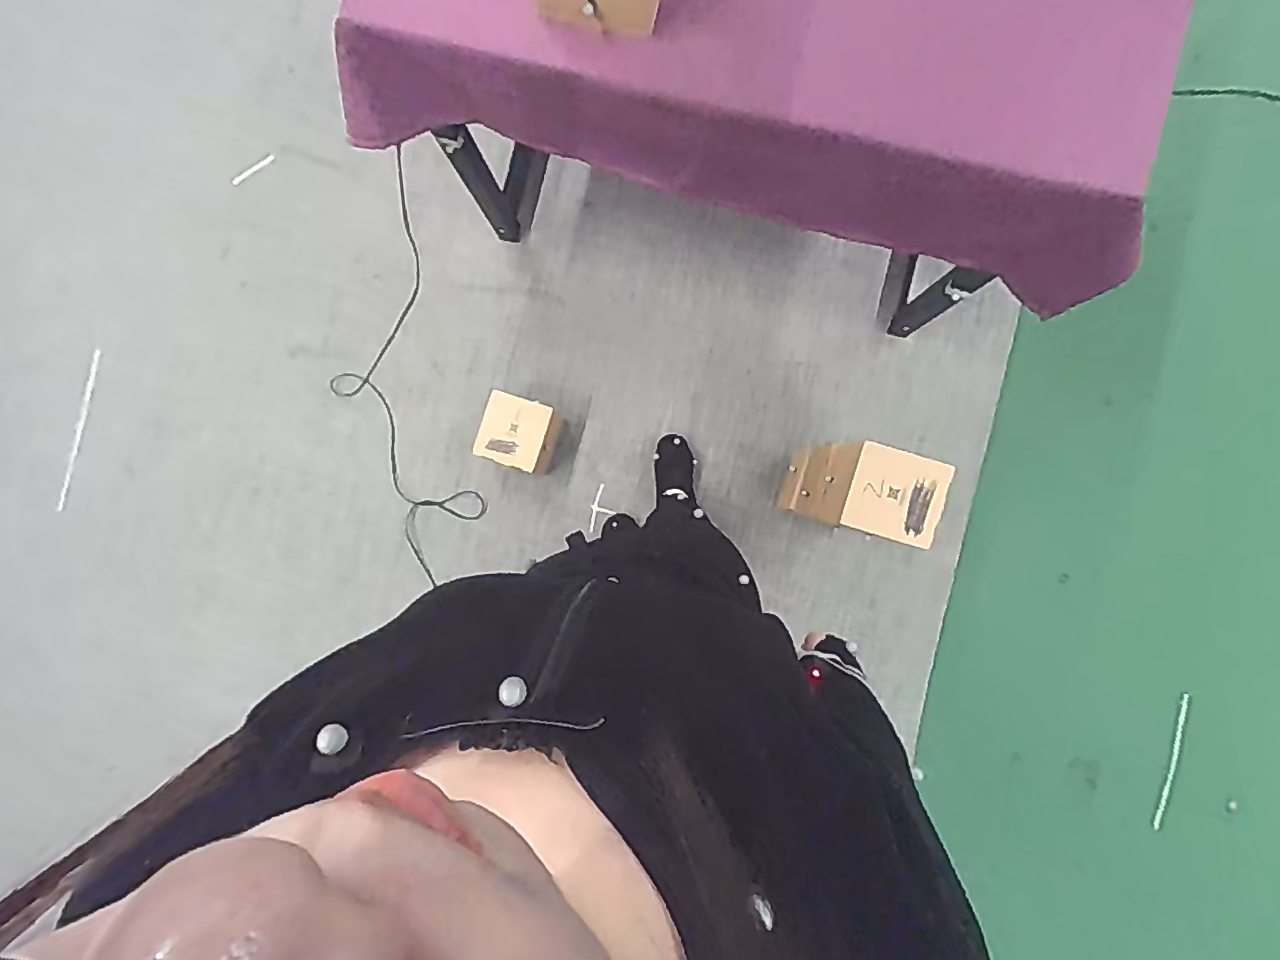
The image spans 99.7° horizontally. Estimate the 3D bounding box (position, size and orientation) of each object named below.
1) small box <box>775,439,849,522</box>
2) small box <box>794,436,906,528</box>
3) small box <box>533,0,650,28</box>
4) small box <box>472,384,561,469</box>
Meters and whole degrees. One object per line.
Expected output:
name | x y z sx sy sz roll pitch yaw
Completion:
small box | 0.473 0.005 1.416 0.179 0.176 0.168 18 90 1
small box | 0.476 0.006 1.253 0.179 0.176 0.168 16 91 1
small box | -0.058 -0.755 0.717 0.179 0.176 0.168 13 89 1
small box | -0.322 -0.134 1.444 0.168 0.176 0.179 18 89 2
